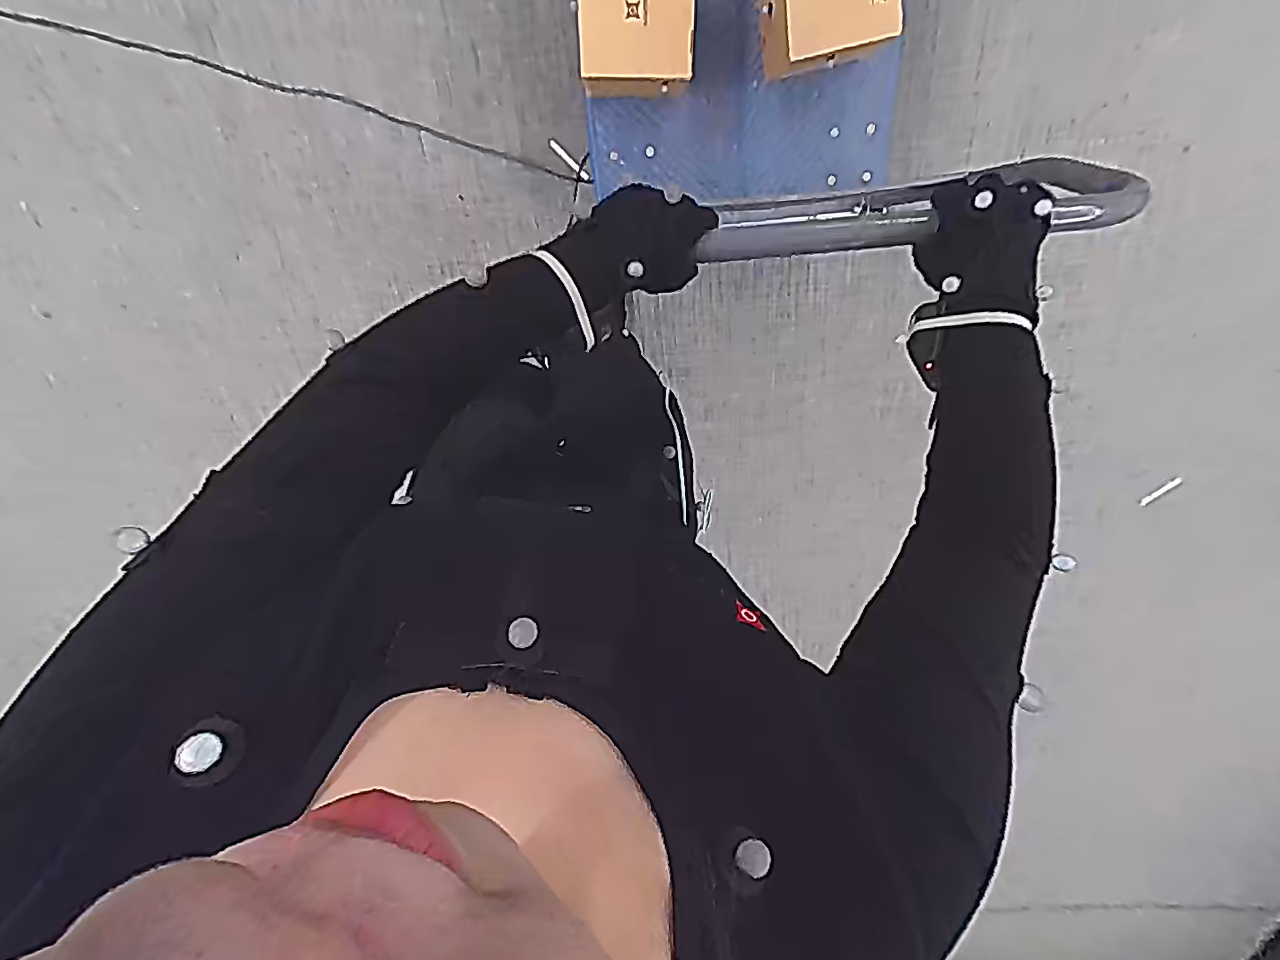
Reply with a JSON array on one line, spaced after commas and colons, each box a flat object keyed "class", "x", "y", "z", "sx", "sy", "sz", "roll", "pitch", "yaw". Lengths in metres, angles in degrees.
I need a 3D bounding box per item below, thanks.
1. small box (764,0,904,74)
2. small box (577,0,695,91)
[{"class": "small box", "x": 0.297, "y": -0.773, "z": 0.859, "sx": 0.179, "sy": 0.176, "sz": 0.168, "roll": -11, "pitch": 118, "yaw": 4}, {"class": "small box", "x": -0.009, "y": -0.739, "z": 0.869, "sx": 0.179, "sy": 0.176, "sz": 0.168, "roll": -2, "pitch": 117, "yaw": -3}]
